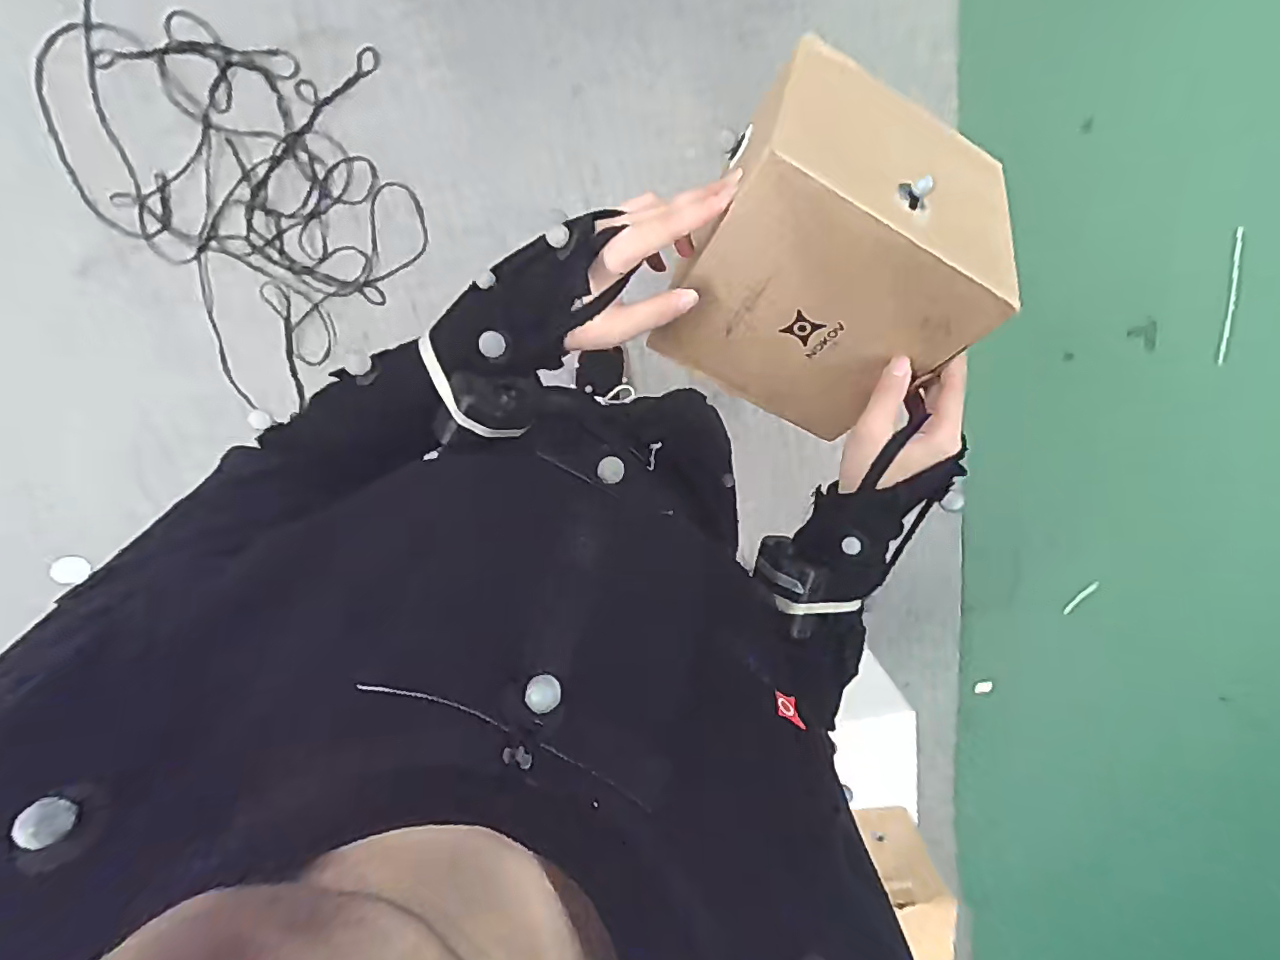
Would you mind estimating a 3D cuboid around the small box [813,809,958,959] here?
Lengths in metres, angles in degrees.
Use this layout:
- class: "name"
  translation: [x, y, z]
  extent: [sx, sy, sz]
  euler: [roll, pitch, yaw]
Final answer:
- class: "small box"
  translation: [0.395, 0.689, 0.898]
  extent: [0.168, 0.176, 0.179]
  euler: [-6, 106, 1]

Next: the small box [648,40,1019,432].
- class: "small box"
  translation: [0.132, -0.171, 0.398]
  extent: [0.179, 0.176, 0.168]
  euler: [25, 147, -10]
